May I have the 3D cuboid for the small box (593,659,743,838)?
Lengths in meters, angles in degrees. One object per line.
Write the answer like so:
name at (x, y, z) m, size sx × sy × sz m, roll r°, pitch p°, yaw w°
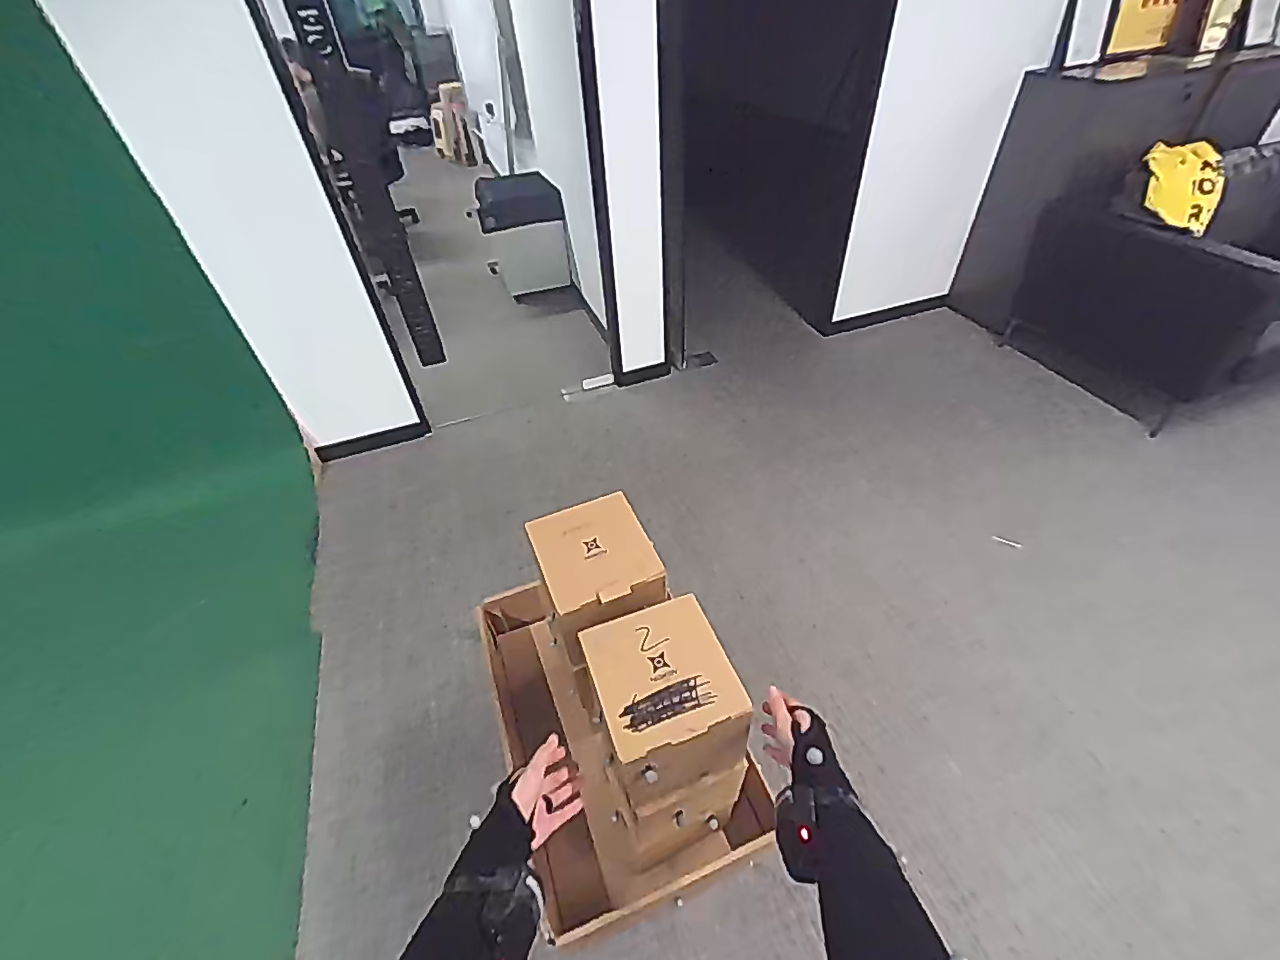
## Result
small box at (0.040, 0.414, 0.824) m, size 0.168 × 0.176 × 0.179 m, roll -18°, pitch 46°, yaw -14°

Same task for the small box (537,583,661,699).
small box at (-0.069, 0.270, 0.978) m, size 0.168 × 0.176 × 0.179 m, roll -21°, pitch 49°, yaw -17°

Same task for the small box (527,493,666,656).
small box at (-0.066, 0.156, 0.861) m, size 0.168 × 0.176 × 0.179 m, roll -18°, pitch 49°, yaw -15°
